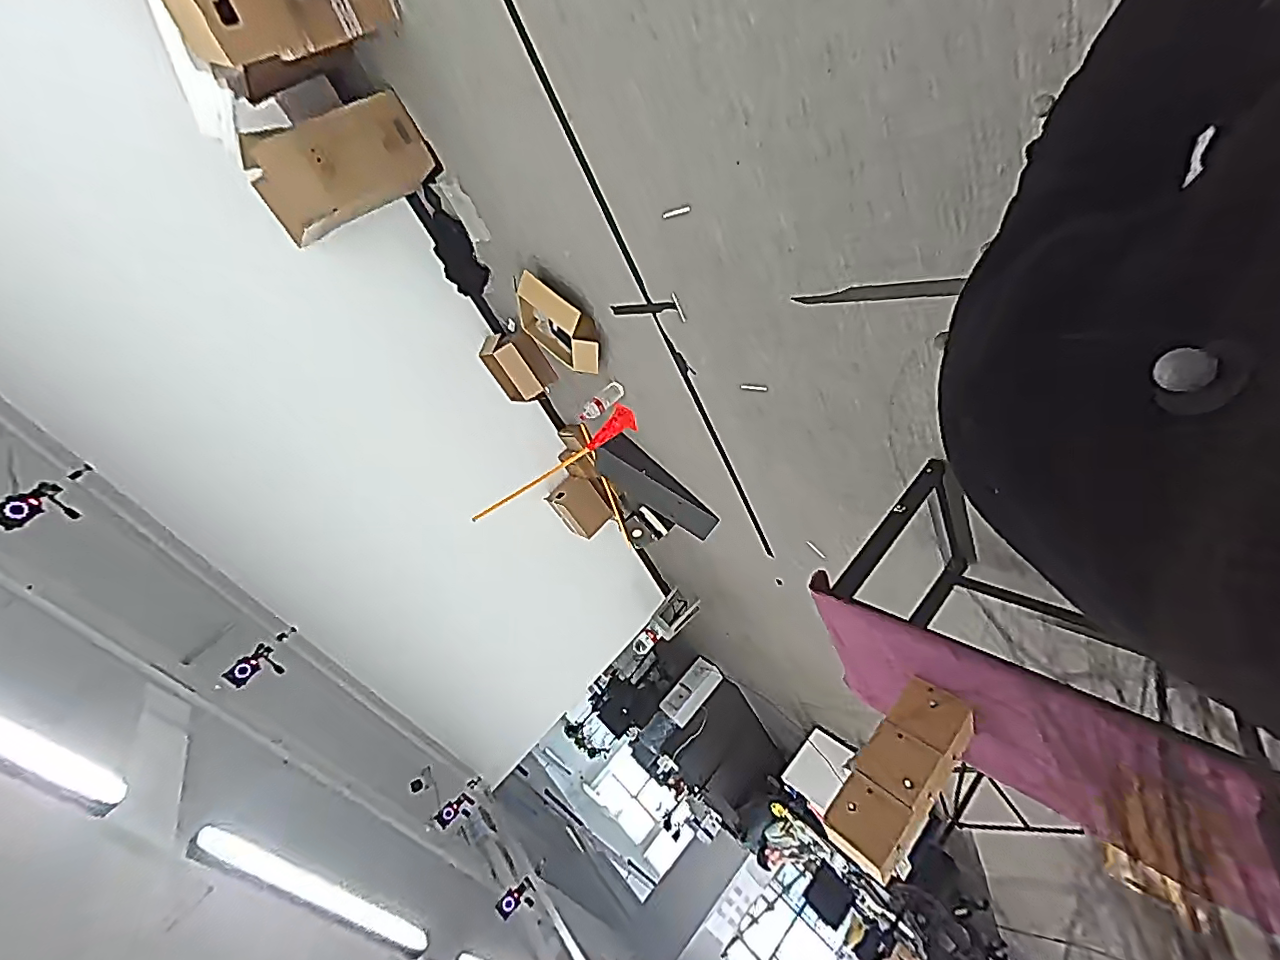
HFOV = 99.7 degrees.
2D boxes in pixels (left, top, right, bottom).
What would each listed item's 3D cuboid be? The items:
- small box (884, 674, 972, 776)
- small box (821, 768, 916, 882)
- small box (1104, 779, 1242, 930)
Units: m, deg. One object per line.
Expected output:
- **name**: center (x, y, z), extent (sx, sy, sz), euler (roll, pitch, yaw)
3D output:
- **small box**: center (0.829, 0.696, 1.549), extent (0.168, 0.176, 0.179), euler (22, 149, 46)
- **small box**: center (0.607, 0.904, 1.429), extent (0.168, 0.176, 0.179), euler (26, 153, 46)
- **small box**: center (1.116, 0.780, 1.139), extent (0.168, 0.176, 0.179), euler (20, 147, 50)
